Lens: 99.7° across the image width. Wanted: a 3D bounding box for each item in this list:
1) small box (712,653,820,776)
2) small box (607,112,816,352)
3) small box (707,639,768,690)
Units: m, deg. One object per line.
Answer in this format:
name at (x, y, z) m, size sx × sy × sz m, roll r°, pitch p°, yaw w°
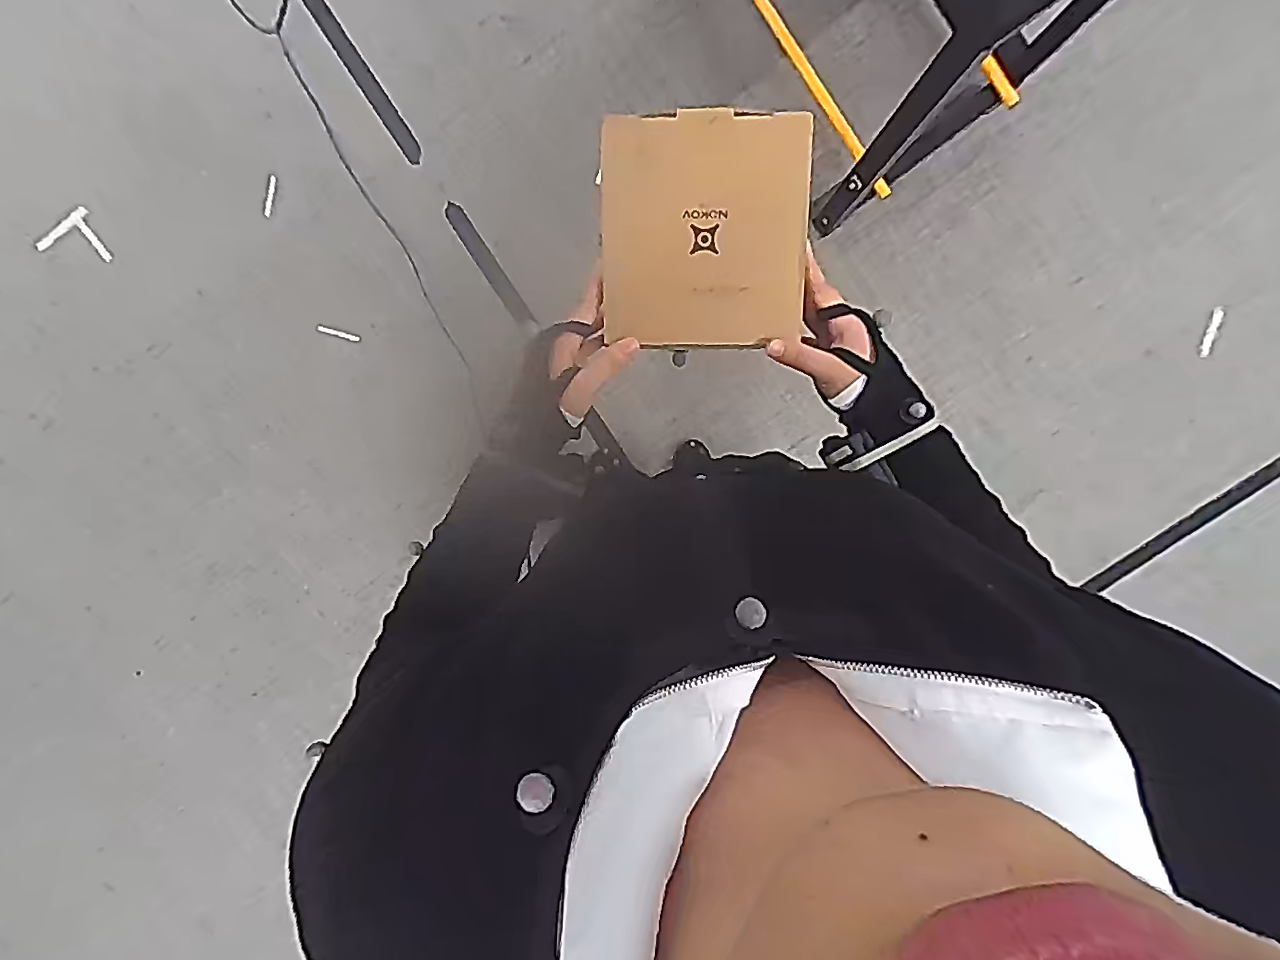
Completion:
small box at (0.290, 0.546, 1.286) m, size 0.179 × 0.176 × 0.168 m, roll -35°, pitch 93°, yaw 4°
small box at (0.055, -0.214, 0.511) m, size 0.168 × 0.176 × 0.179 m, roll 0°, pitch 103°, yaw 1°
small box at (0.295, 0.552, 1.453) m, size 0.168 × 0.176 × 0.179 m, roll -33°, pitch 93°, yaw 4°
